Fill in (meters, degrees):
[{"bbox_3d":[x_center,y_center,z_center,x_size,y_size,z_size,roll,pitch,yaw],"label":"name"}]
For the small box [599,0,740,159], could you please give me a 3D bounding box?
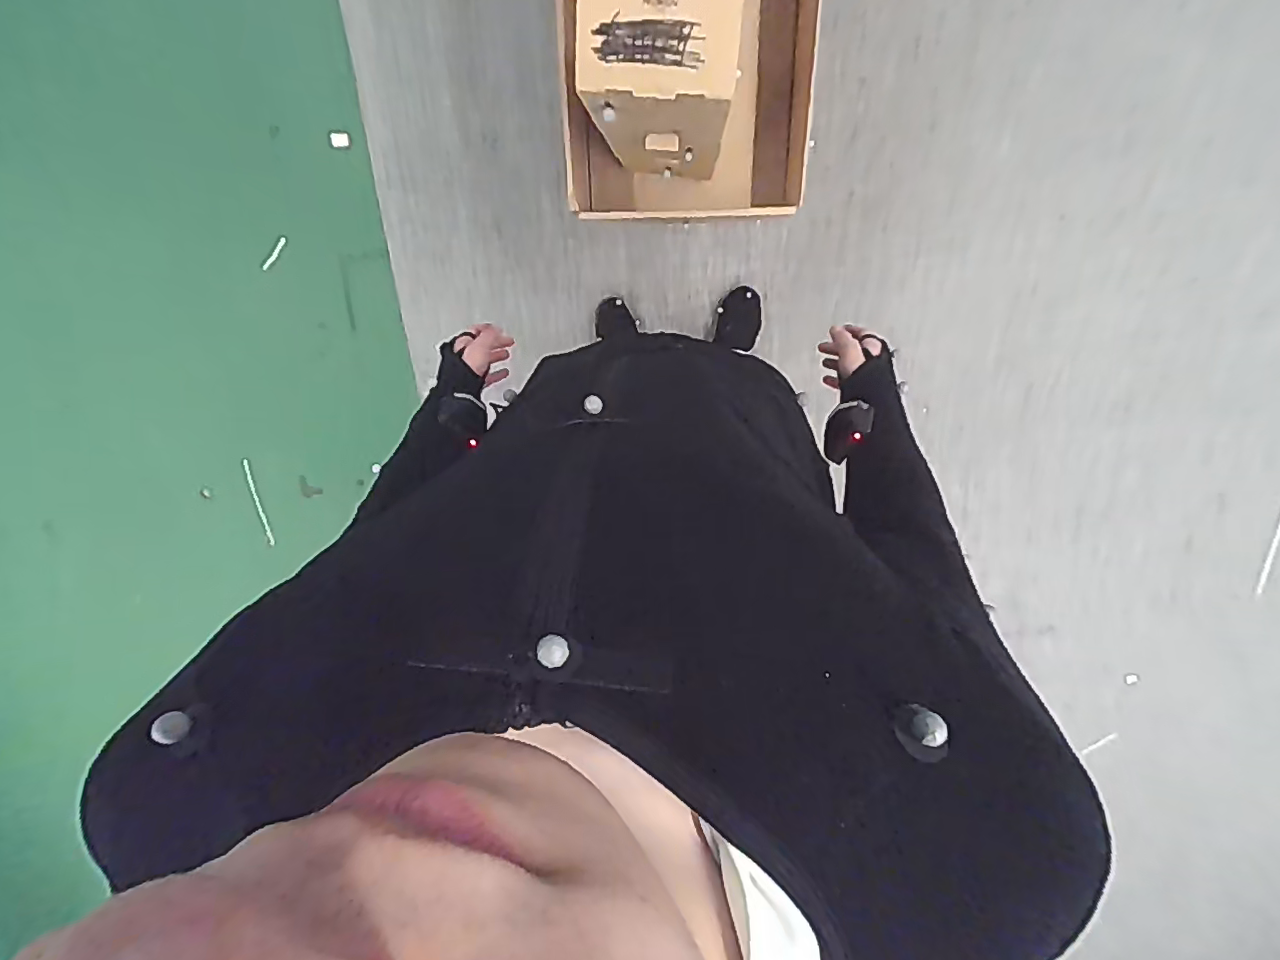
[{"bbox_3d":[0.041,-0.561,0.748,0.168,0.176,0.179,6,110,2],"label":"small box"}]
